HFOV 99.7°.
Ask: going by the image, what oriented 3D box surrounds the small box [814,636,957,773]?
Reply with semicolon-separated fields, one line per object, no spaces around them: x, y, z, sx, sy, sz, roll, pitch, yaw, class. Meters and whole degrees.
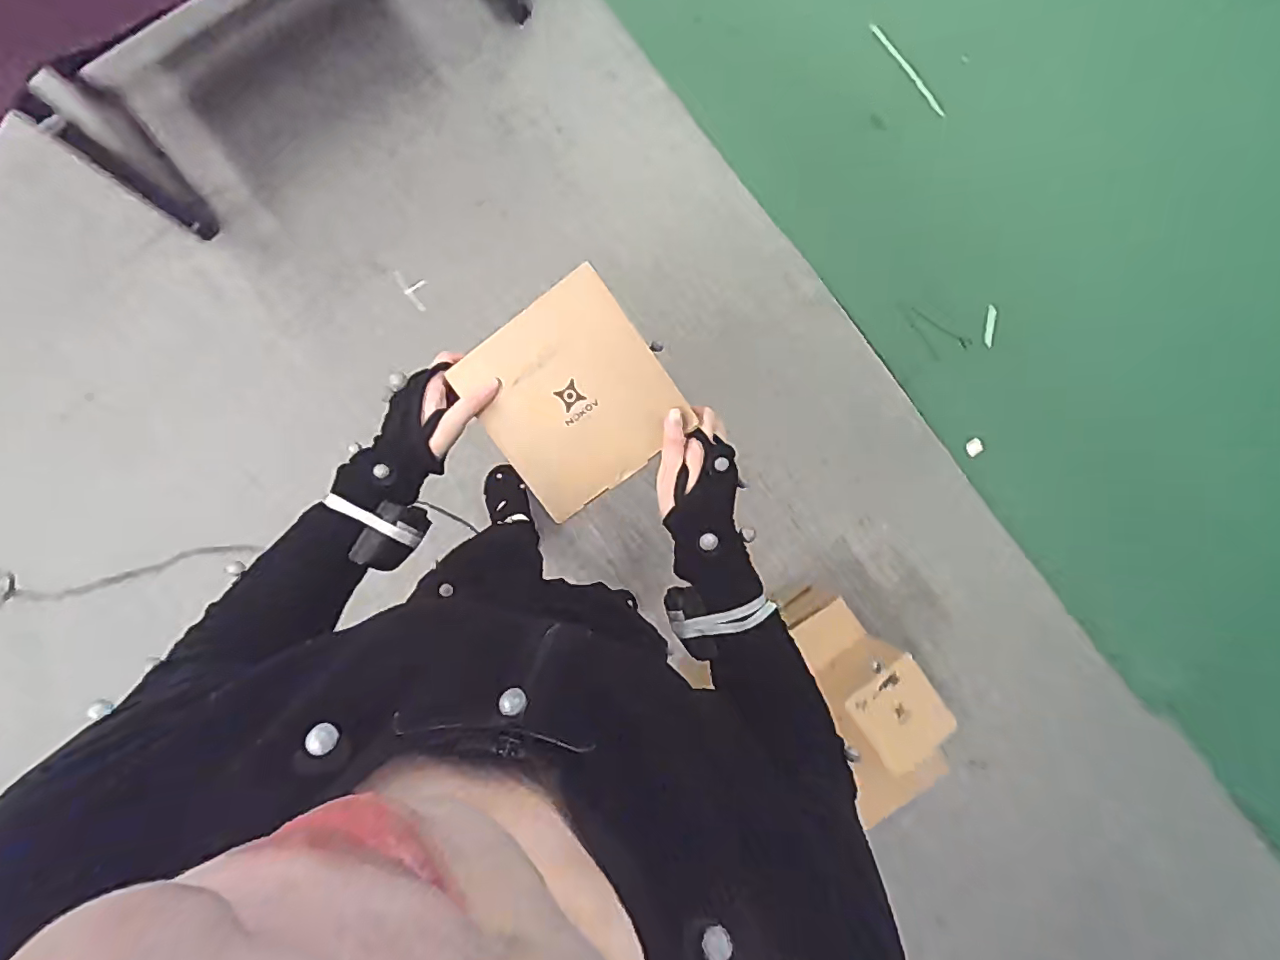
0.498;0.452;1.120;0.168;0.176;0.179;-34;90;-7;small box
